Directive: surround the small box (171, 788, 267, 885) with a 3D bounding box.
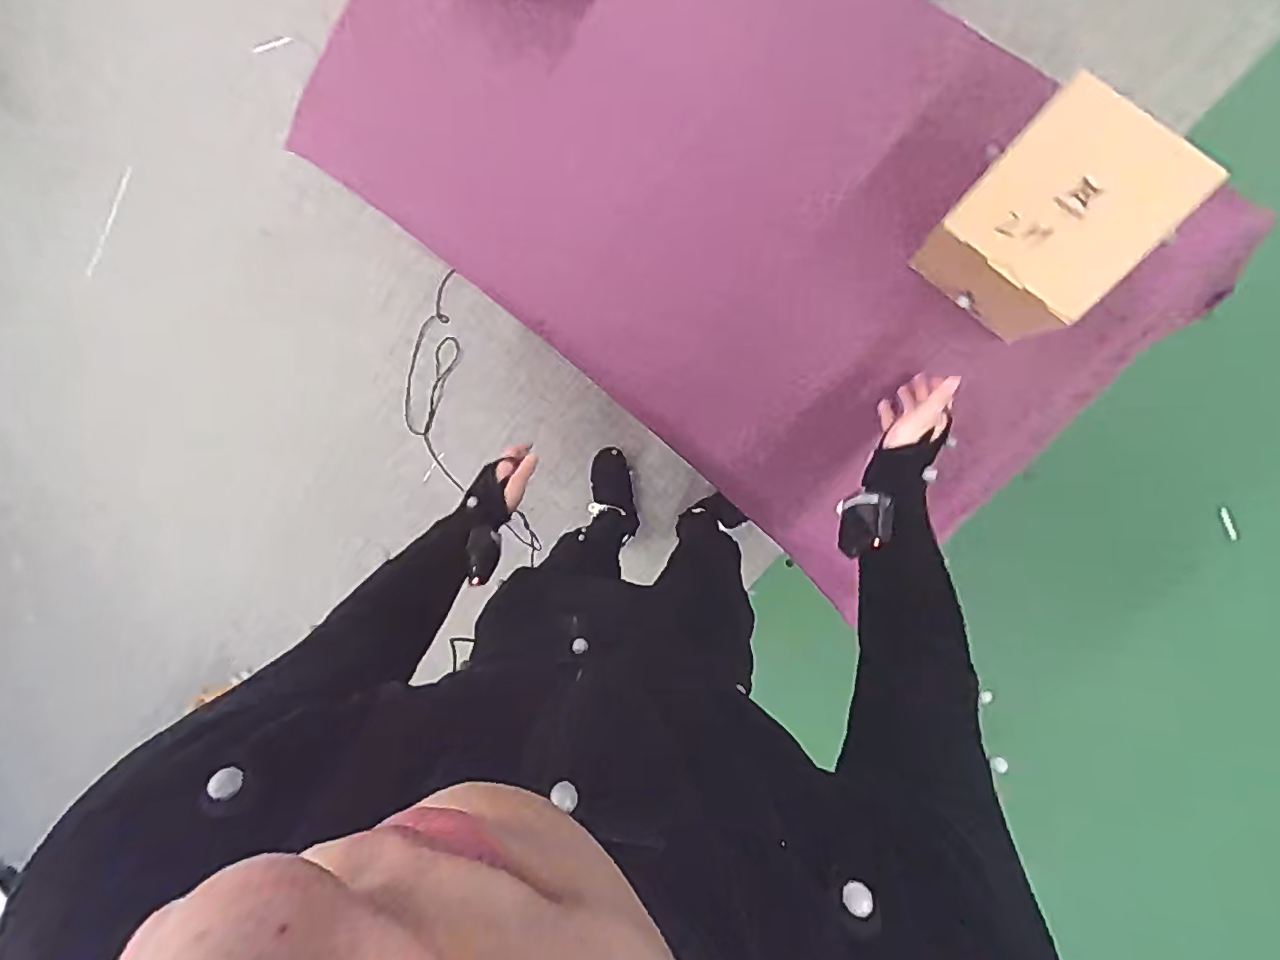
[{"bbox_3d":[-1.410,1.195,1.821,0.168,0.176,0.179,40,106,4],"label":"small box"}]

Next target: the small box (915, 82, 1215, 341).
[{"bbox_3d":[0.448,-0.281,0.612,0.168,0.176,0.179,43,107,6],"label":"small box"}]
